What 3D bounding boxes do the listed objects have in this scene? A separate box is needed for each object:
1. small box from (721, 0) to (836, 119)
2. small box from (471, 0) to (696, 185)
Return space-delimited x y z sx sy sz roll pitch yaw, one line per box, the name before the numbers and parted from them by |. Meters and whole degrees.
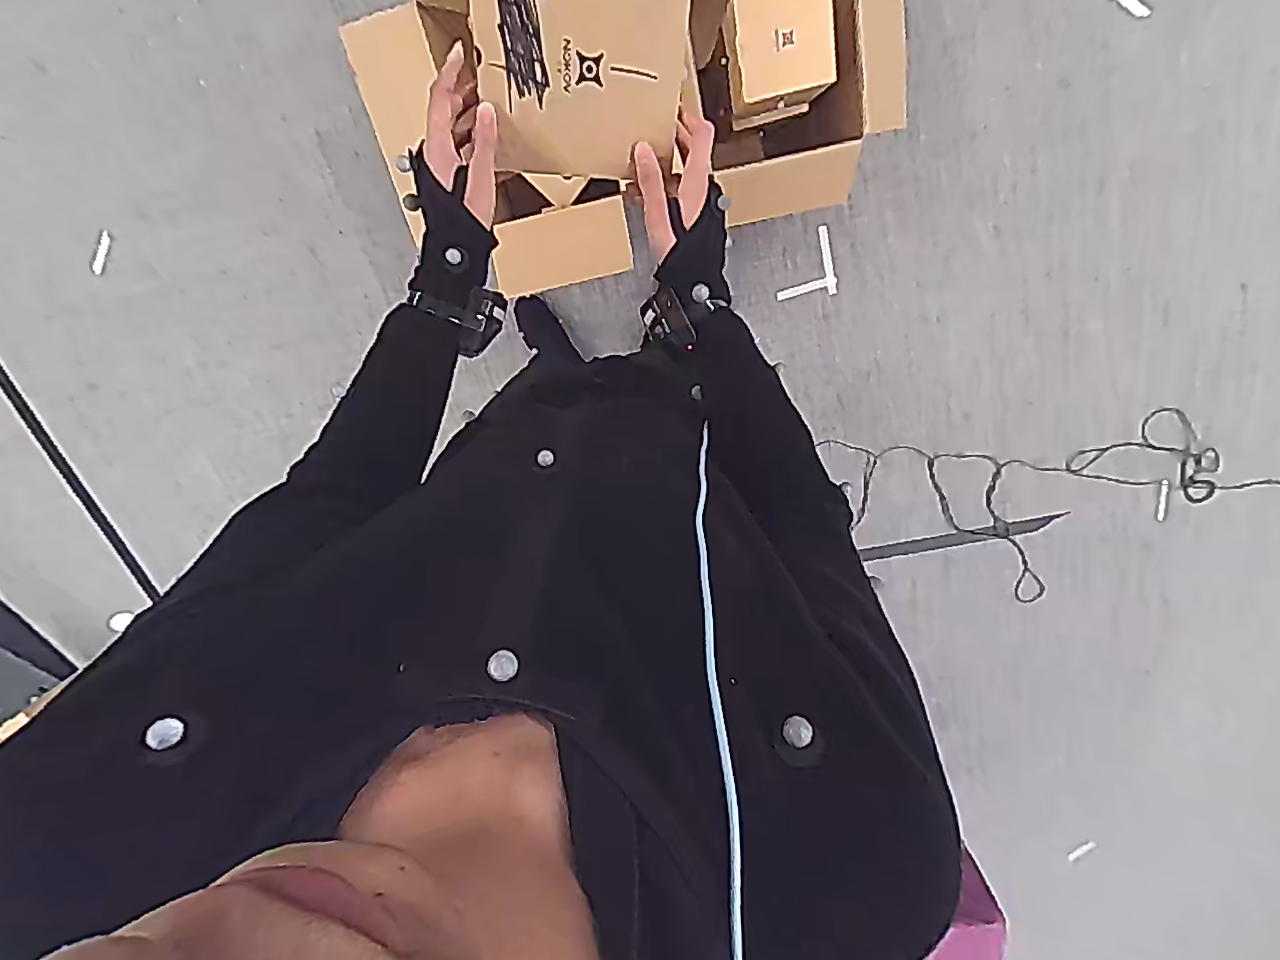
small box | 0.262 -0.824 1.044 0.179 0.176 0.168 -10 114 6
small box | -0.050 -0.395 0.508 0.179 0.176 0.168 2 131 -6
